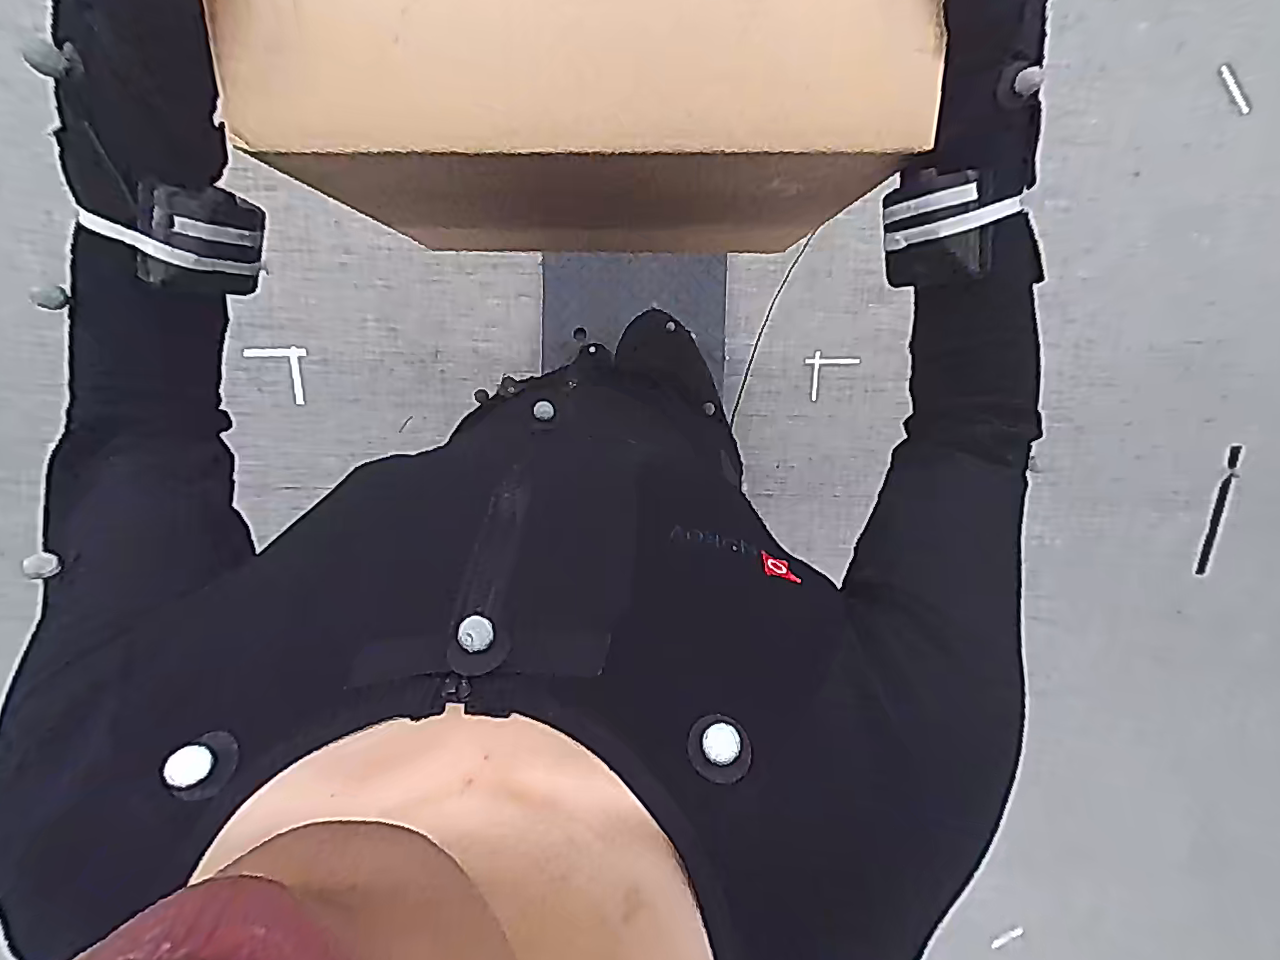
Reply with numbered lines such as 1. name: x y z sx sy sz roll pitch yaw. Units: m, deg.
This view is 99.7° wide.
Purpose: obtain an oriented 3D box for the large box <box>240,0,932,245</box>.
1. large box: -0.034 -0.387 0.437 0.408 0.320 0.320 -1 104 -1
